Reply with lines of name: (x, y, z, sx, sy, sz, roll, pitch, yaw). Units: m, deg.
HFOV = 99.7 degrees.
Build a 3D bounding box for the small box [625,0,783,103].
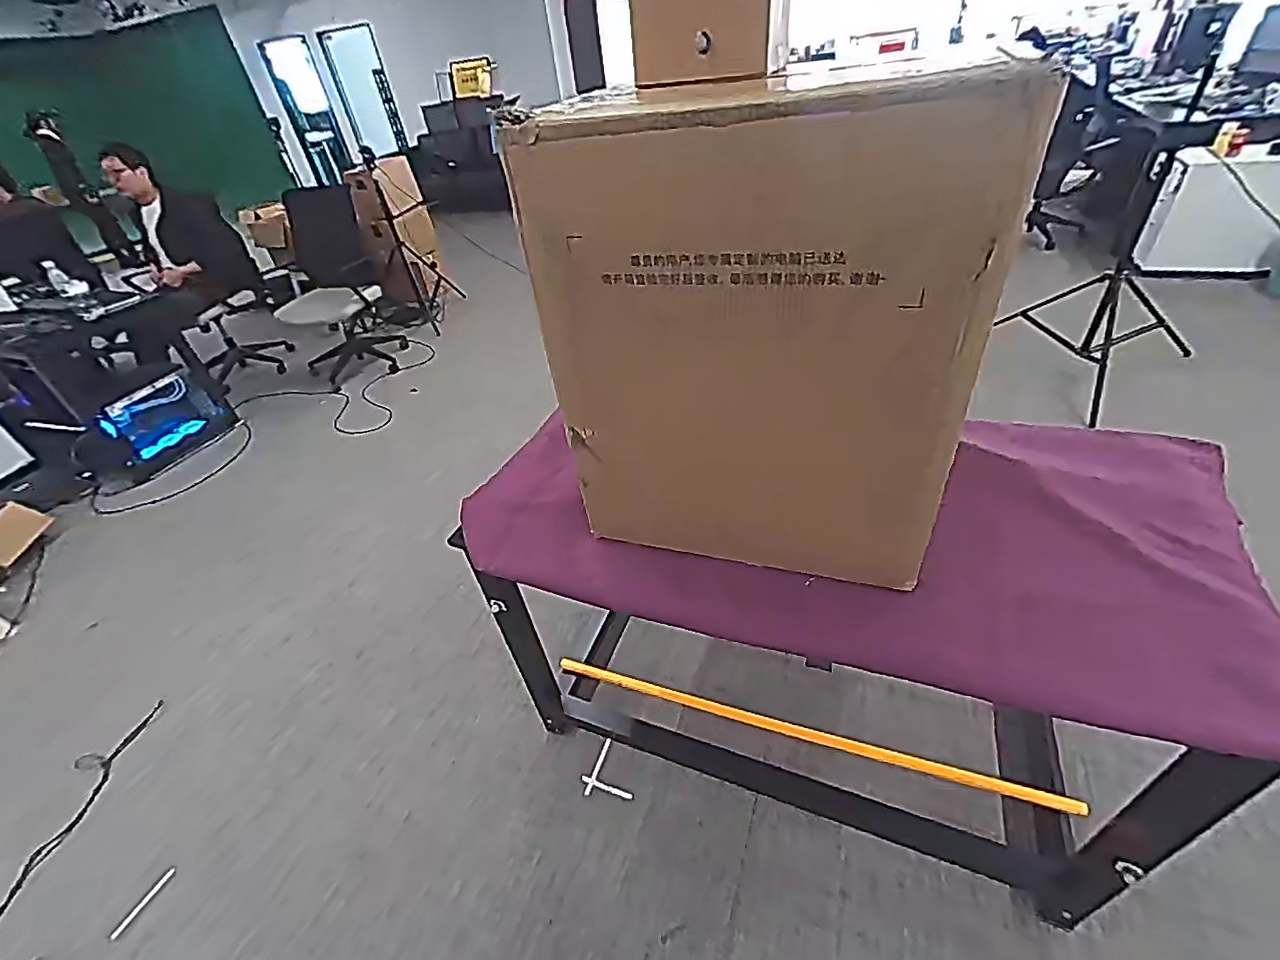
small box: (0.086, -0.600, 0.693, 0.179, 0.176, 0.168, 9, 41, 20)
